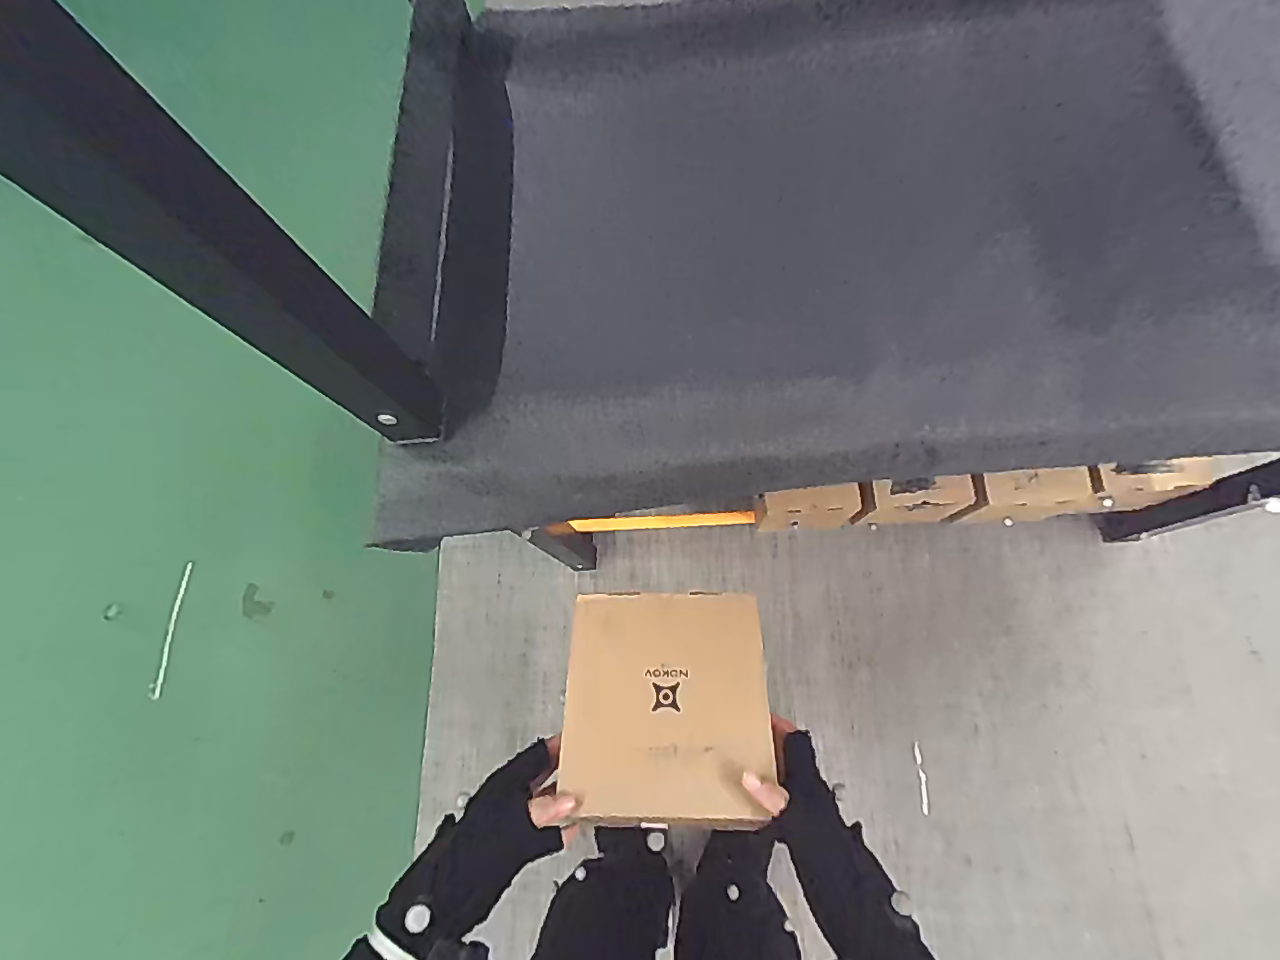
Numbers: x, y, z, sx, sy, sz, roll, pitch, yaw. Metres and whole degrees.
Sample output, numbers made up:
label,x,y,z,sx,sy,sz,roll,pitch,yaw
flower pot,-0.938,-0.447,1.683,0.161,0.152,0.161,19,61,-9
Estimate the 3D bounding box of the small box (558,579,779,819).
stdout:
label,x,y,z,sx,sy,sz,roll,pitch,yaw
small box,0.026,0.208,0.507,0.168,0.176,0.179,-2,55,4
